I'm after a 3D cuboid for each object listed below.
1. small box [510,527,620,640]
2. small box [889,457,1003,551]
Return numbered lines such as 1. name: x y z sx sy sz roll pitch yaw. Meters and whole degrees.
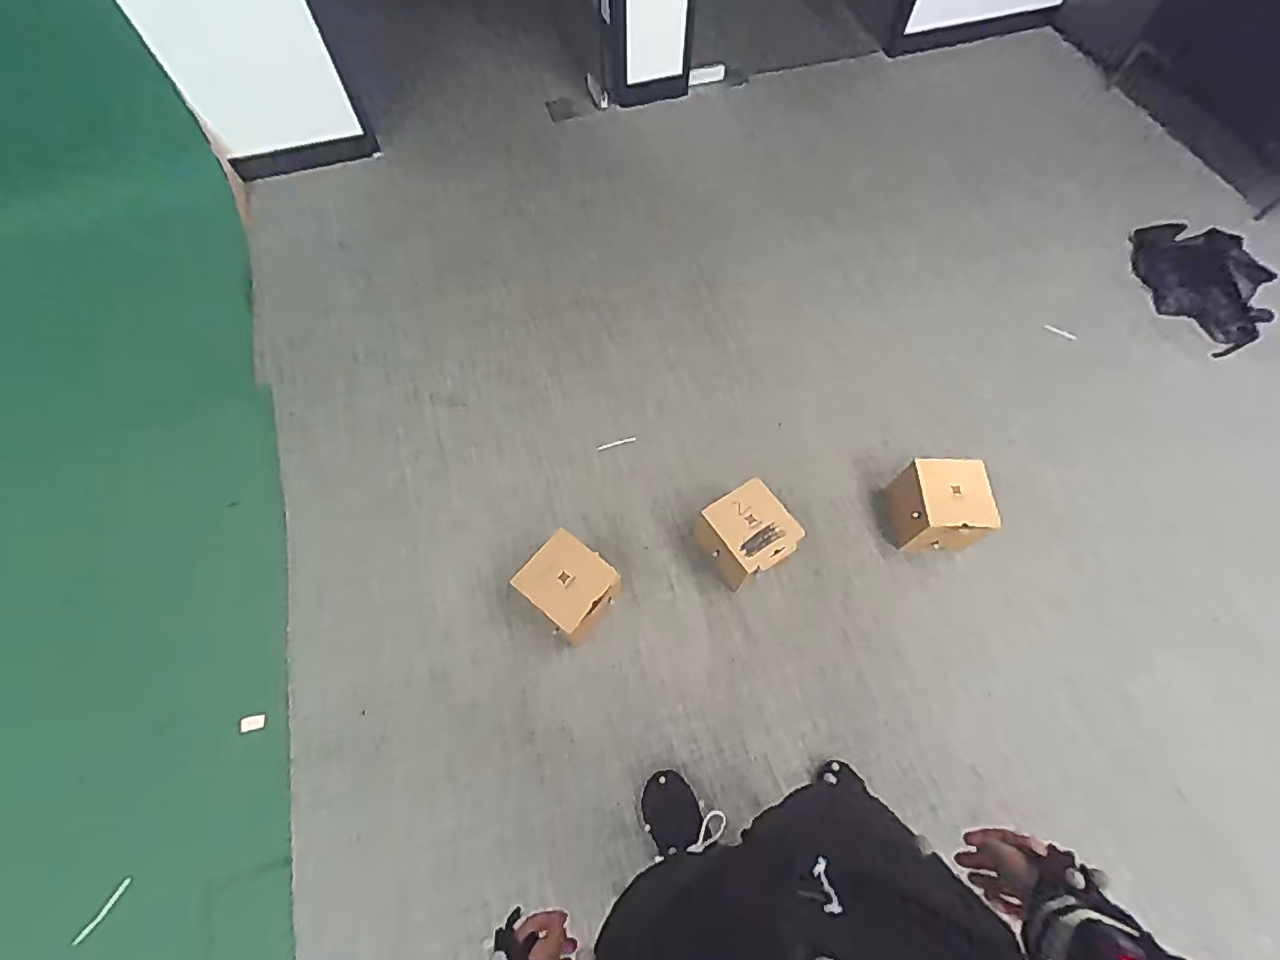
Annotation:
1. small box: -0.158 0.240 1.213 0.179 0.176 0.168 36 68 16
2. small box: 0.727 0.061 1.311 0.168 0.176 0.179 1 65 -1
